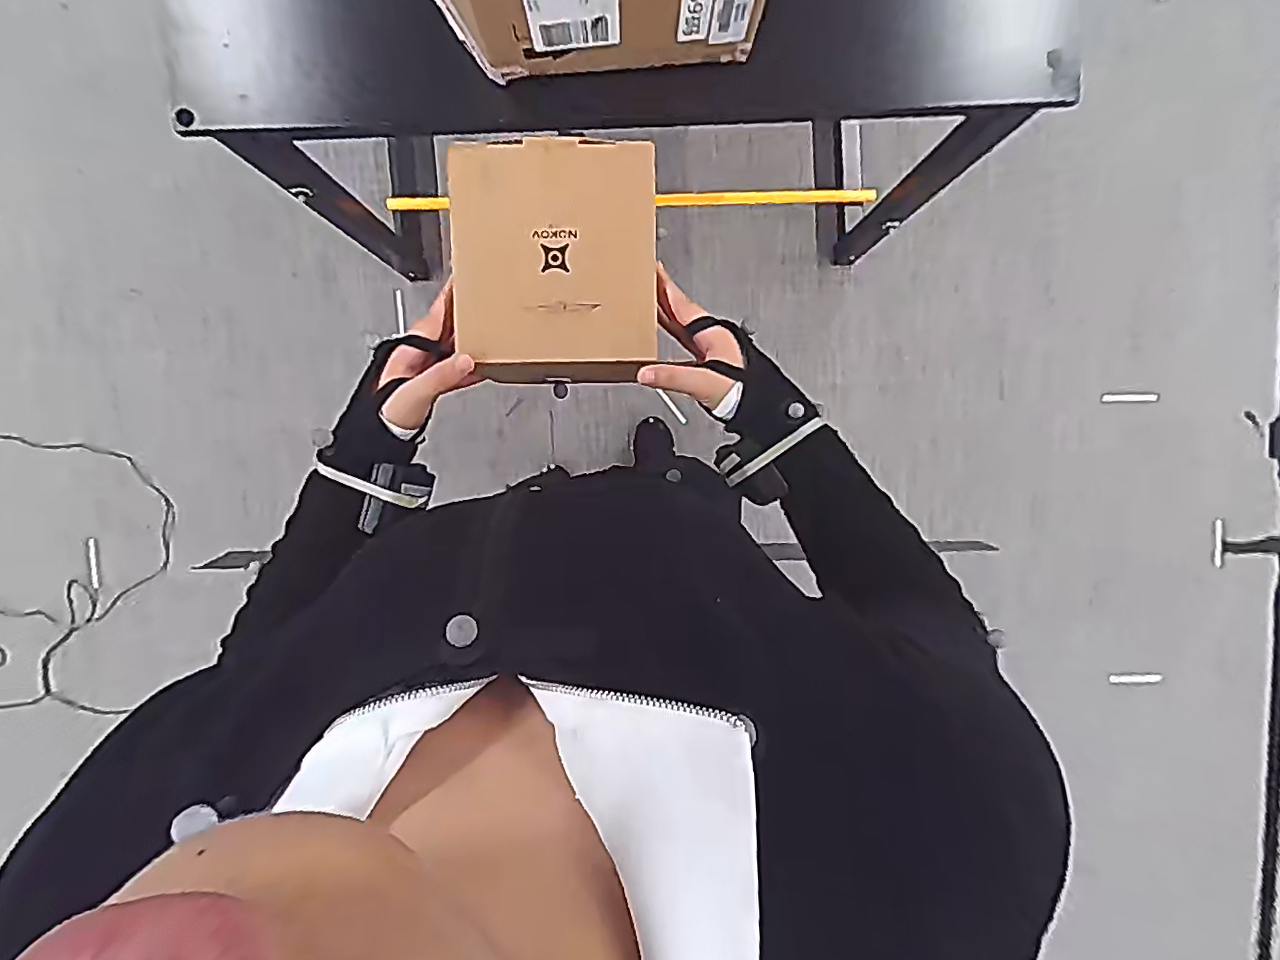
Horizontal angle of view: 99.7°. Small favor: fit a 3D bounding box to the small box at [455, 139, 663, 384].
[{"bbox_3d":[-0.067,-0.189,0.513,0.168,0.176,0.179,-1,95,-2],"label":"small box"}]
